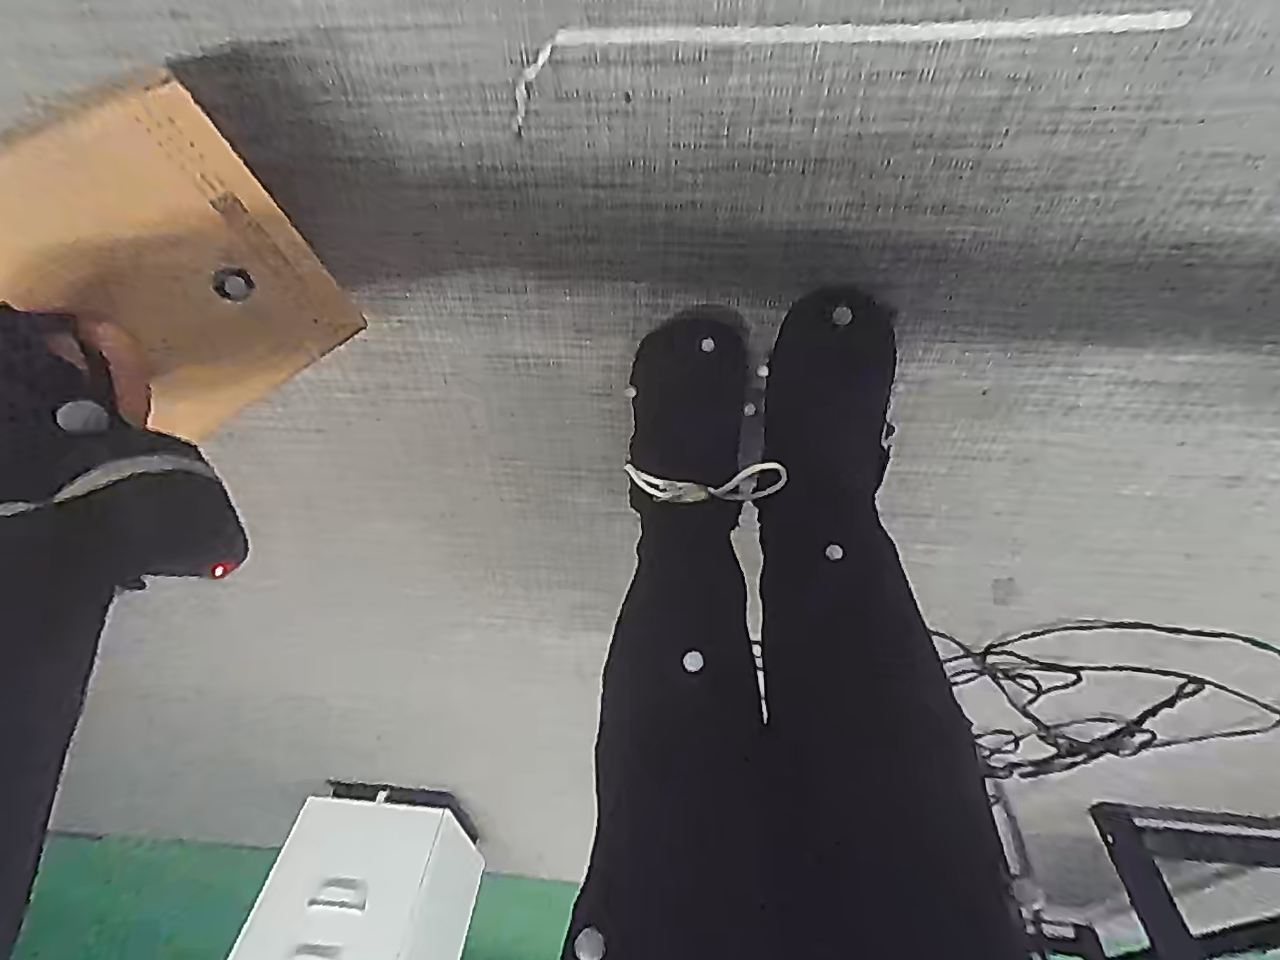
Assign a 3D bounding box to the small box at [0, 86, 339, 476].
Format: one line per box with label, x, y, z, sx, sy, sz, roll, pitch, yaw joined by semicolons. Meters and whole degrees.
small box;-0.347;-0.141;0.369;0.179;0.176;0.168;33;156;35
